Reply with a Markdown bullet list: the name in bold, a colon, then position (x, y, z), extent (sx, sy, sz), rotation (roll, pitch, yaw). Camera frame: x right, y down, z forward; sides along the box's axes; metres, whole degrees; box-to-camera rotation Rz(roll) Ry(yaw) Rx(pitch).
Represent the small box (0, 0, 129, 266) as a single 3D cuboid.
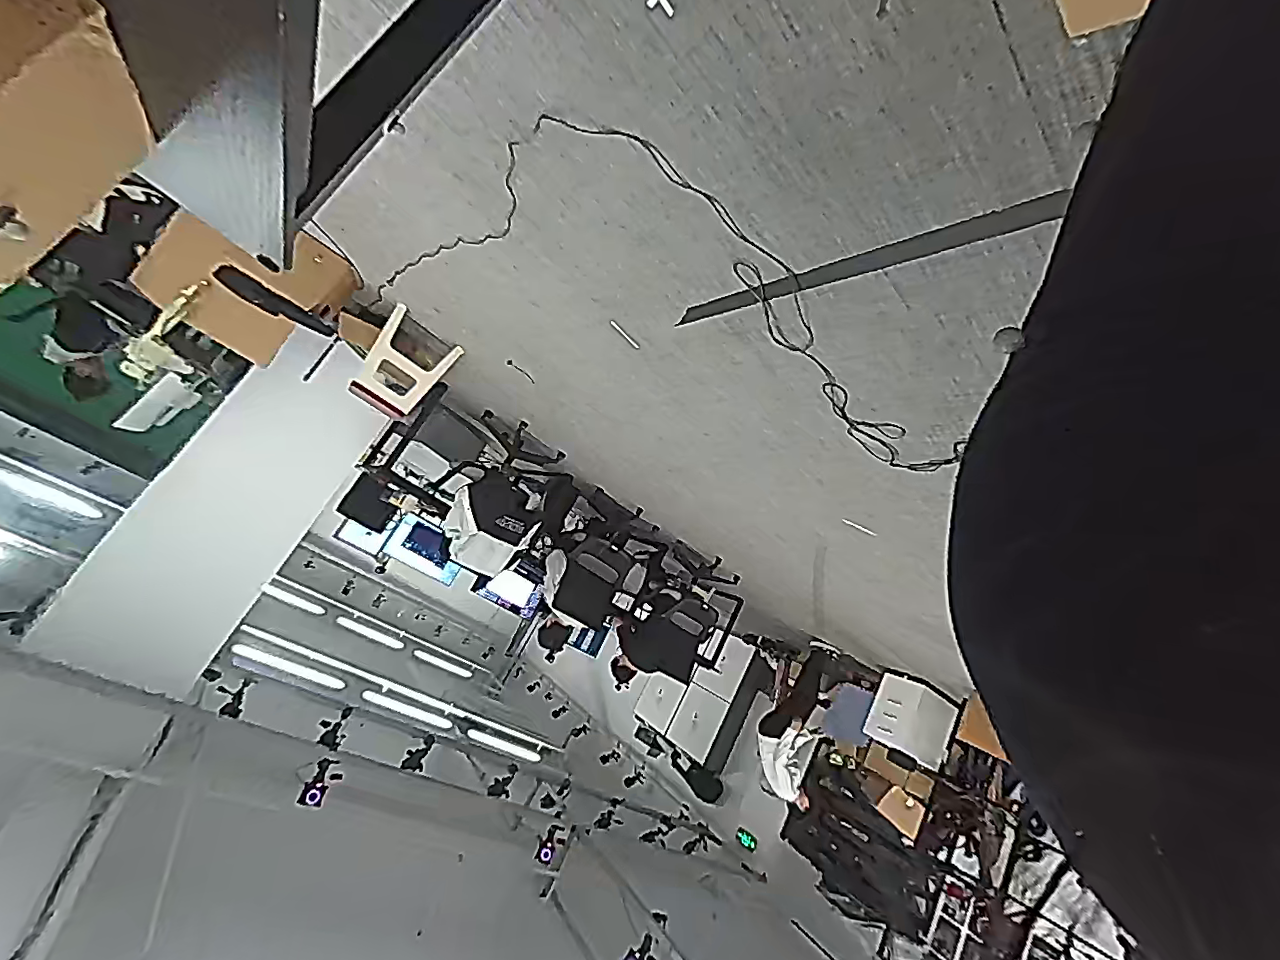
- **small box**: position (-0.441, -0.237, 0.299), extent (0.168, 0.176, 0.179), rotation (37, 162, -30)
